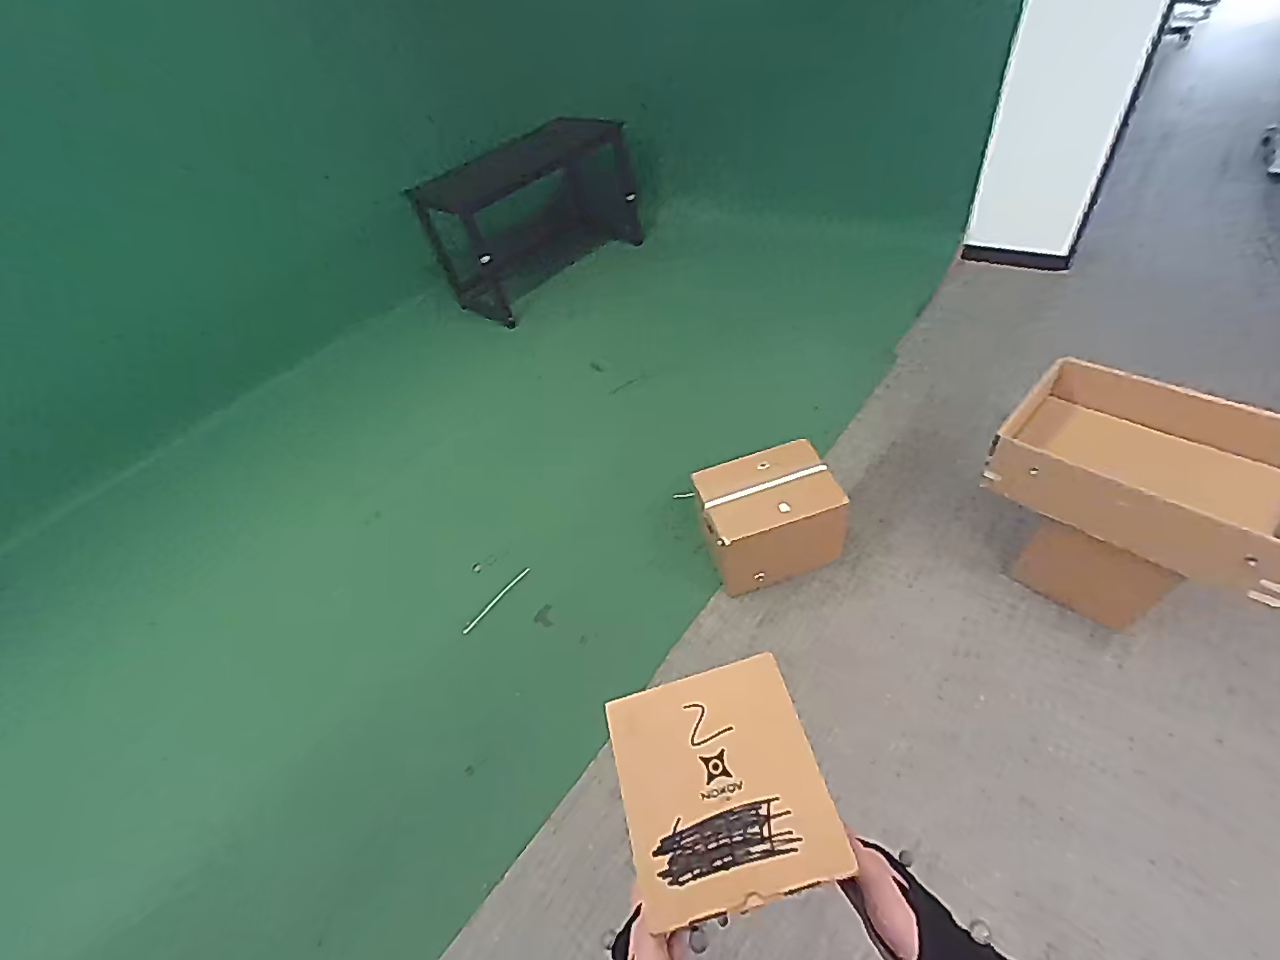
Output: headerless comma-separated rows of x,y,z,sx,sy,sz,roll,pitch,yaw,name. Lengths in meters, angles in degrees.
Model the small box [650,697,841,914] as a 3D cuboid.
0.120,0.386,0.643,0.168,0.176,0.179,-16,51,1,small box
